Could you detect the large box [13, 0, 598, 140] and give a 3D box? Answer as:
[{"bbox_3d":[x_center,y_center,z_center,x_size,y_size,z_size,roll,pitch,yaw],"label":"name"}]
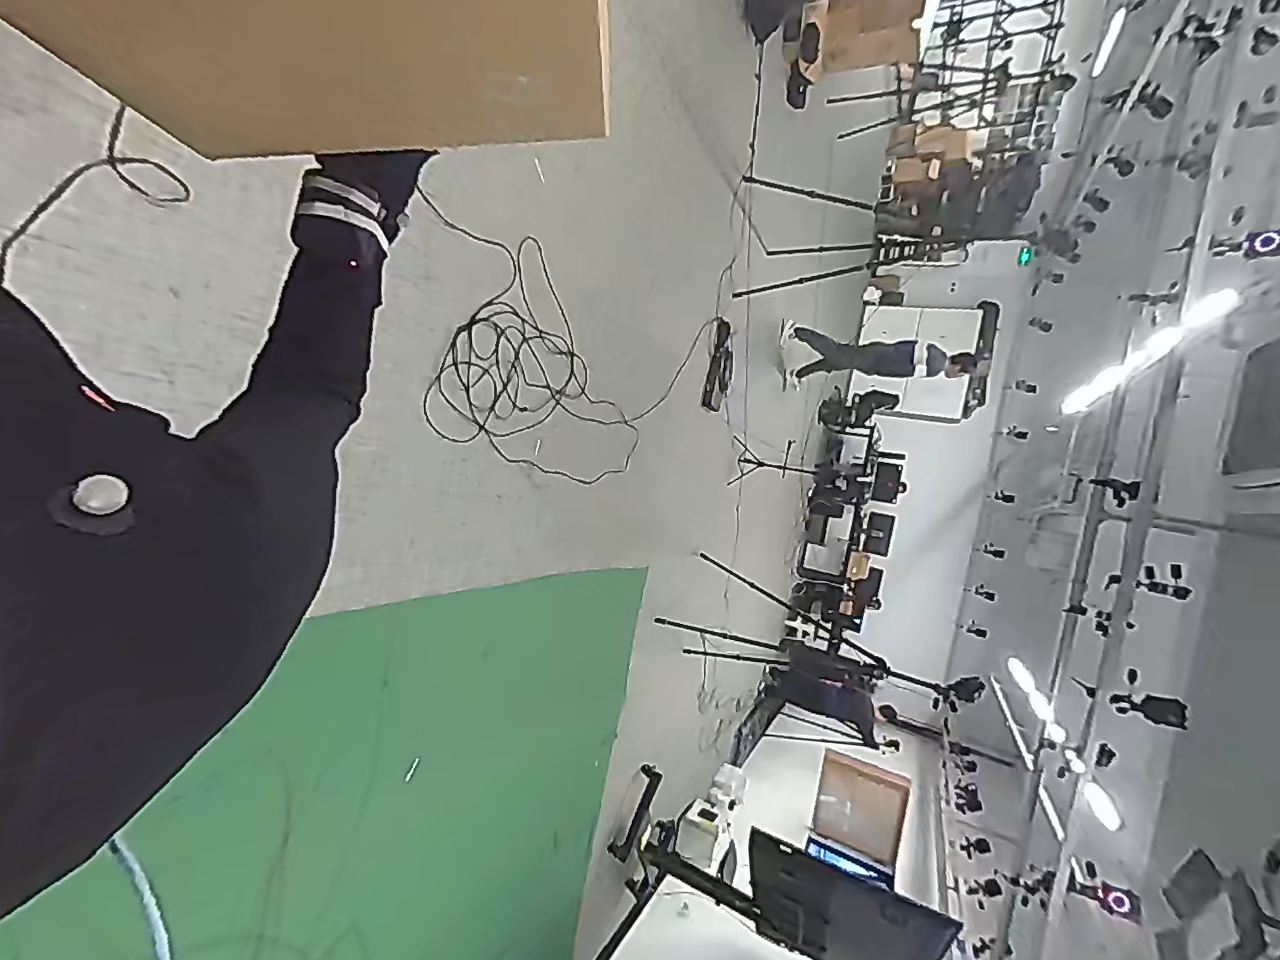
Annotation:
[{"bbox_3d":[-0.188,-0.404,0.212,0.408,0.320,0.320,-126,-148,-85],"label":"large box"}]
